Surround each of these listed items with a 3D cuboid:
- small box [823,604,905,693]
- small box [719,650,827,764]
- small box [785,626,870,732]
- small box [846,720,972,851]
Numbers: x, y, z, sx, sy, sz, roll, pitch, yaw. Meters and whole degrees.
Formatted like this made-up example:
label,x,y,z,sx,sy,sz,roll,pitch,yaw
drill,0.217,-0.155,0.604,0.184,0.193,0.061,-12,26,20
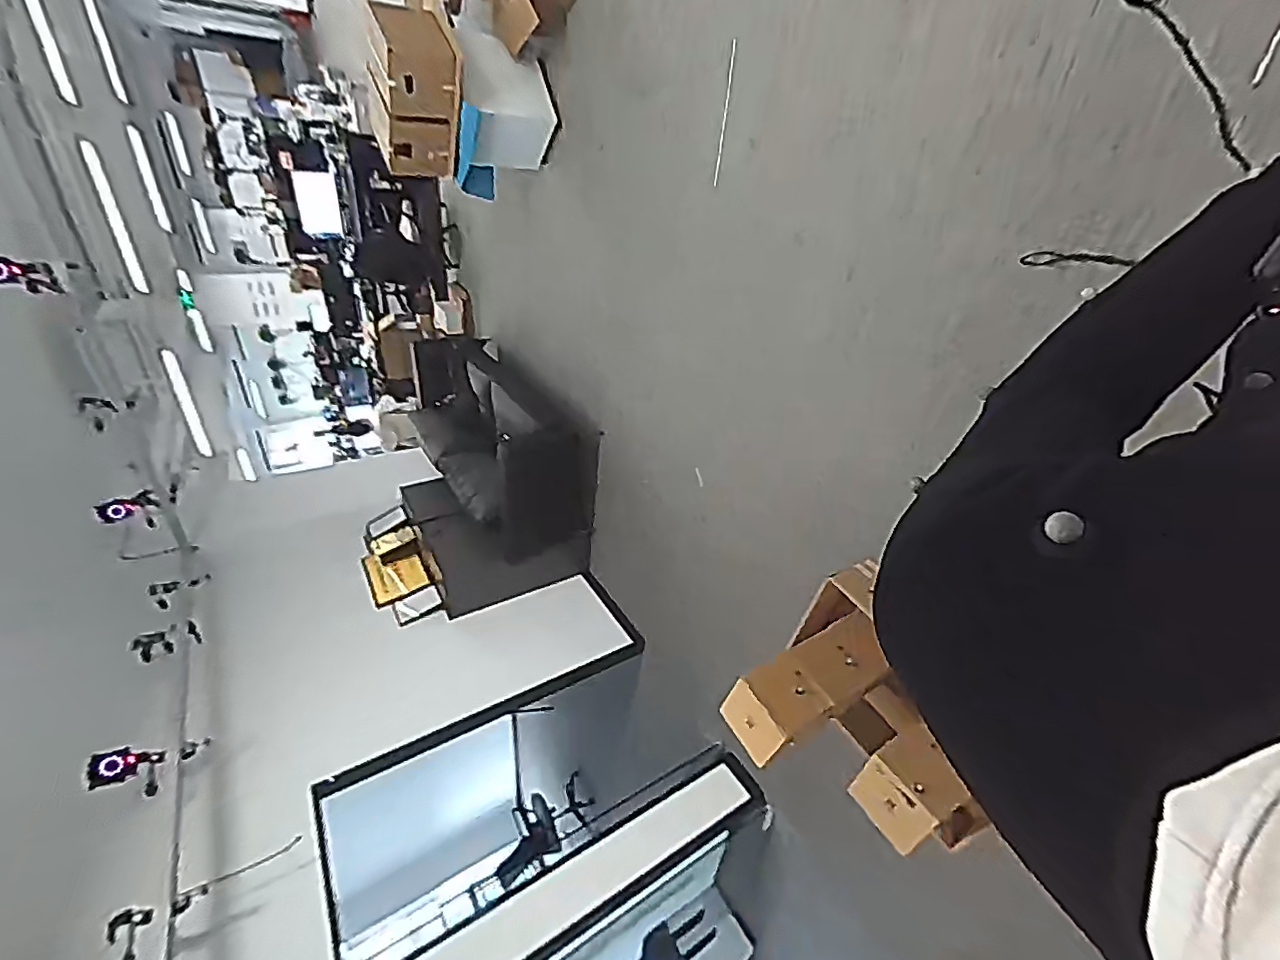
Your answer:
label,x,y,z,sx,sy,sz,roll,pitch,yaw
small box,0.594,0.477,1.499,0.168,0.176,0.179,51,142,34
small box,0.327,0.555,1.332,0.168,0.176,0.179,50,141,34
small box,0.462,0.517,1.413,0.168,0.176,0.179,50,141,34
small box,0.616,0.694,1.240,0.168,0.176,0.179,45,139,39
